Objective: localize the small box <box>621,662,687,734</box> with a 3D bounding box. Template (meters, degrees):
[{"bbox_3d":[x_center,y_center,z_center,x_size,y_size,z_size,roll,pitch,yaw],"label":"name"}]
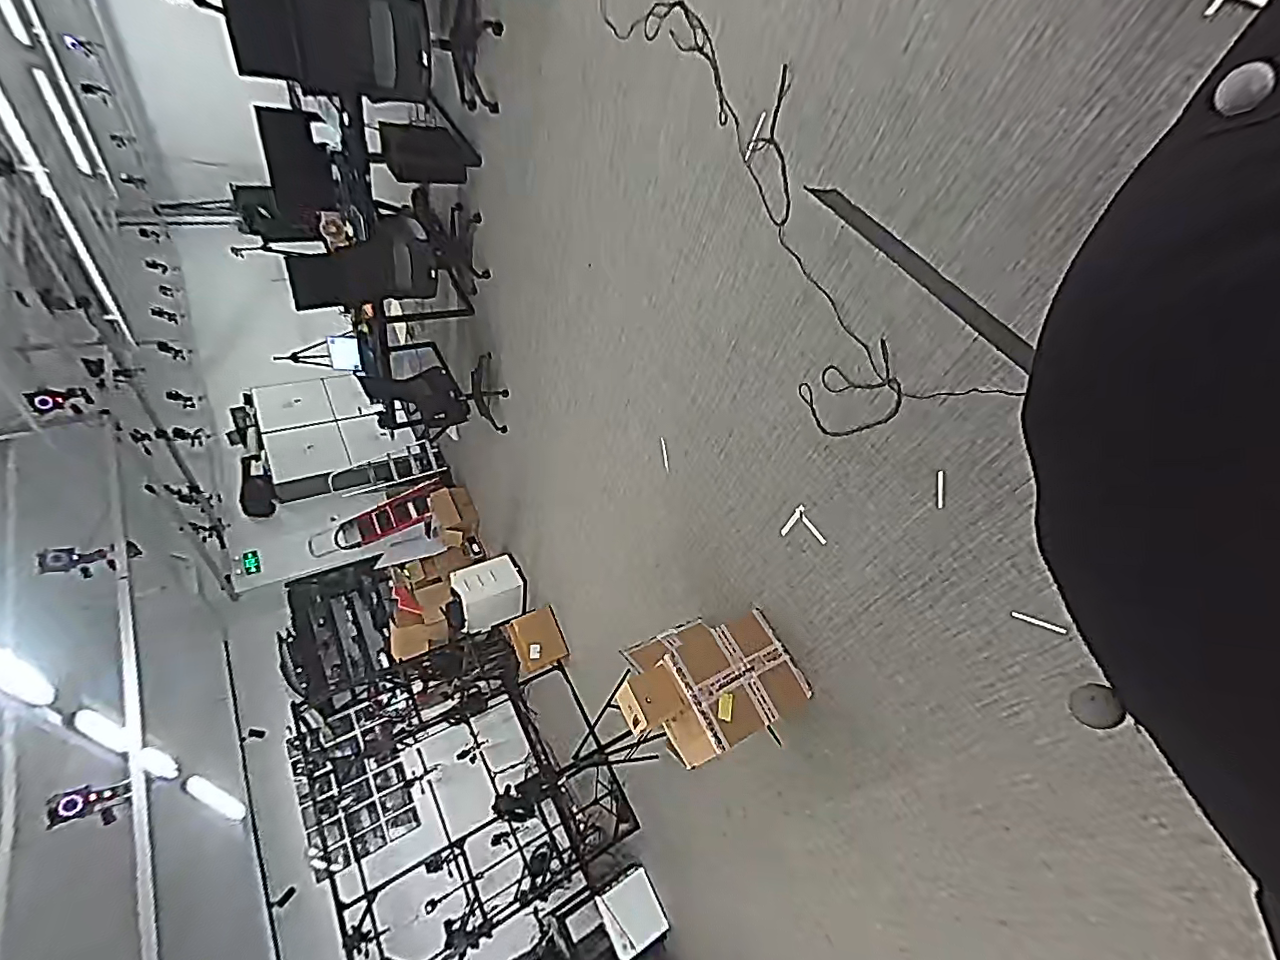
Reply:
[{"bbox_3d":[0.053,0.830,2.065,0.179,0.176,0.168,59,145,28],"label":"small box"}]
